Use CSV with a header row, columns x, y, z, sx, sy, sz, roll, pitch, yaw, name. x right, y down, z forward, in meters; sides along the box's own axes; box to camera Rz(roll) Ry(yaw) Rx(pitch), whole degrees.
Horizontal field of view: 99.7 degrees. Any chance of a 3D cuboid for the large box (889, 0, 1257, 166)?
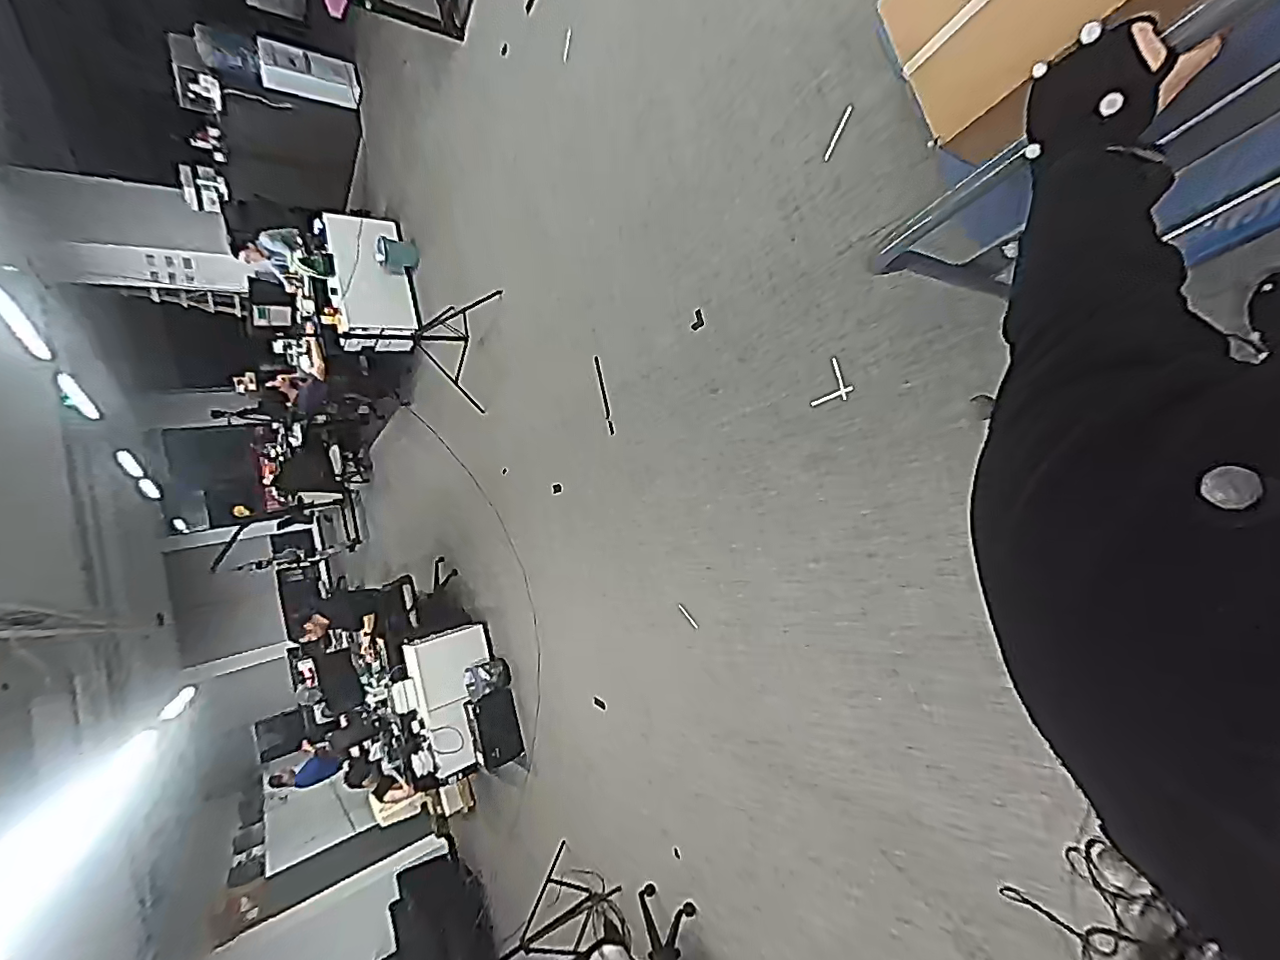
x,y,z,sx,sy,sz,roll,pitch,yaw,name
0.717,-0.815,0.887,0.408,0.320,0.320,-29,74,53,large box
